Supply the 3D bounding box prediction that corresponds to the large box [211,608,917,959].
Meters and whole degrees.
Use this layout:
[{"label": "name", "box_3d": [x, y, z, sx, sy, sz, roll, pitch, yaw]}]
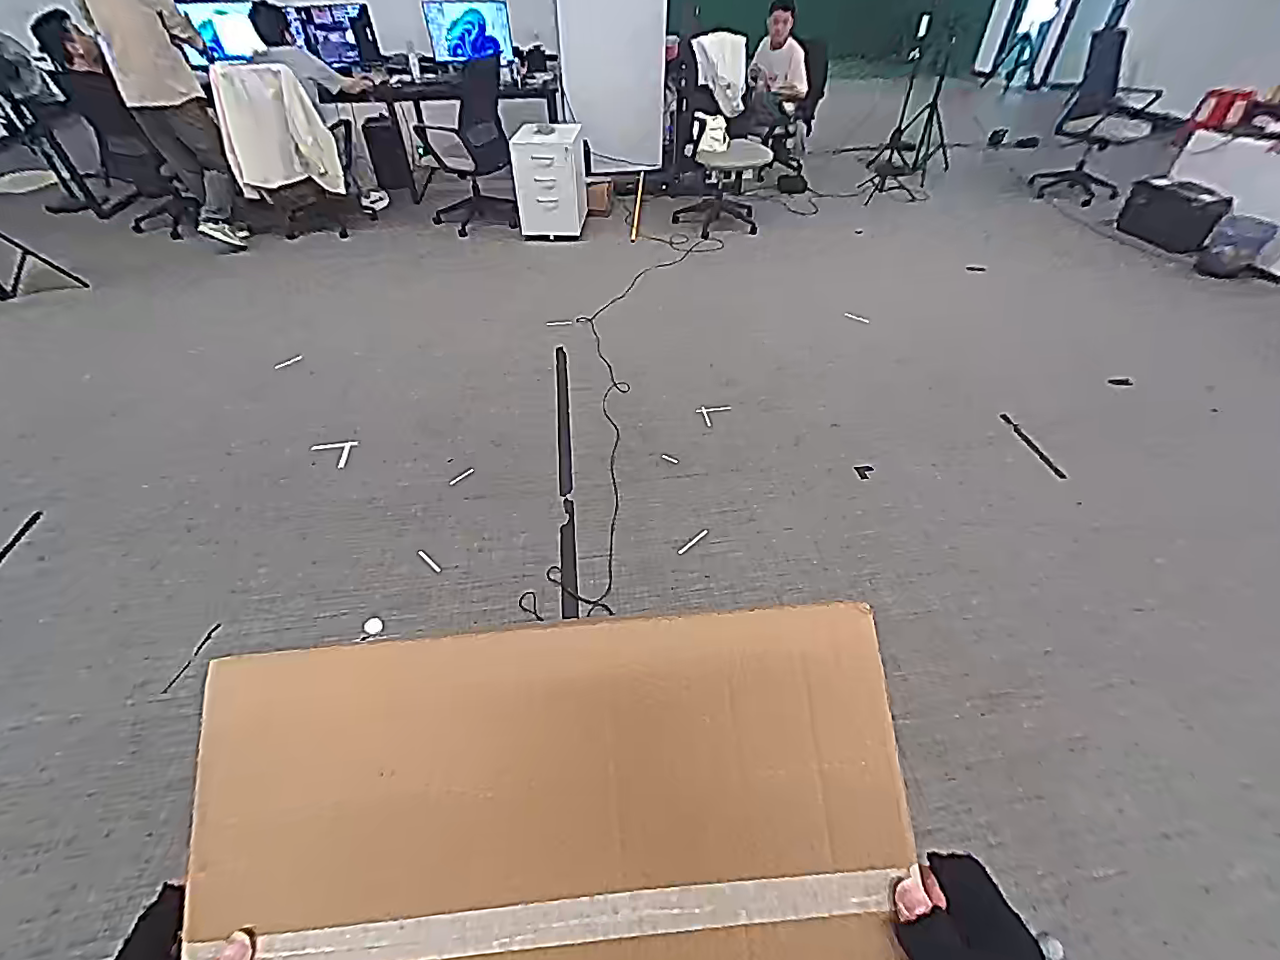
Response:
[{"label": "large box", "box_3d": [-0.046, 0.286, 0.453, 0.408, 0.320, 0.320, -5, 77, -1]}]
